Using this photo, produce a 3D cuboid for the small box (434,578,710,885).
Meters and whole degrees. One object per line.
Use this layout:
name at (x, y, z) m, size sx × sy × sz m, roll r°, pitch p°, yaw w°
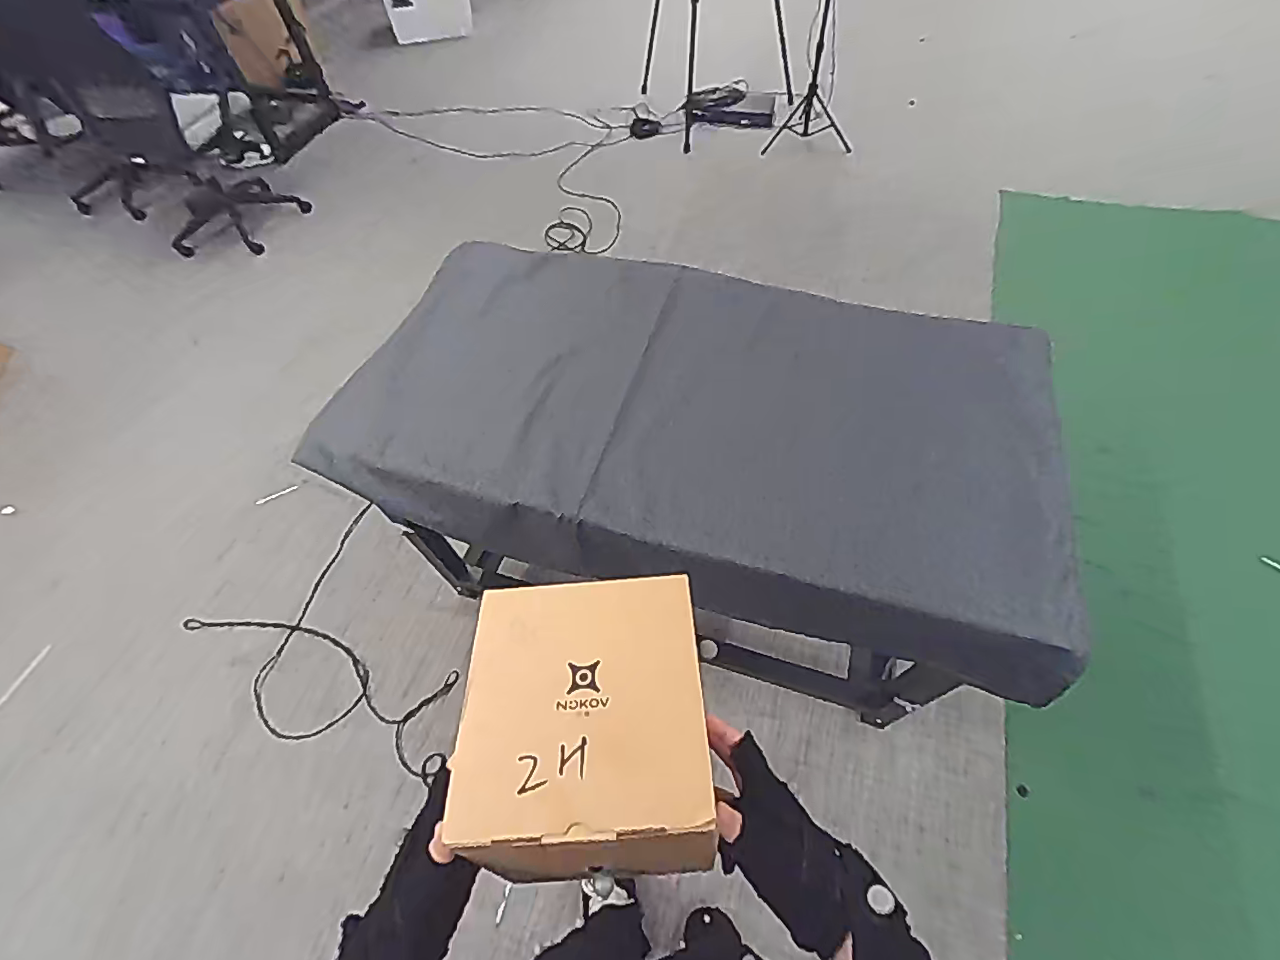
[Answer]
small box at (-0.037, 0.200, 0.429) m, size 0.168 × 0.176 × 0.179 m, roll -5°, pitch 47°, yaw 3°
